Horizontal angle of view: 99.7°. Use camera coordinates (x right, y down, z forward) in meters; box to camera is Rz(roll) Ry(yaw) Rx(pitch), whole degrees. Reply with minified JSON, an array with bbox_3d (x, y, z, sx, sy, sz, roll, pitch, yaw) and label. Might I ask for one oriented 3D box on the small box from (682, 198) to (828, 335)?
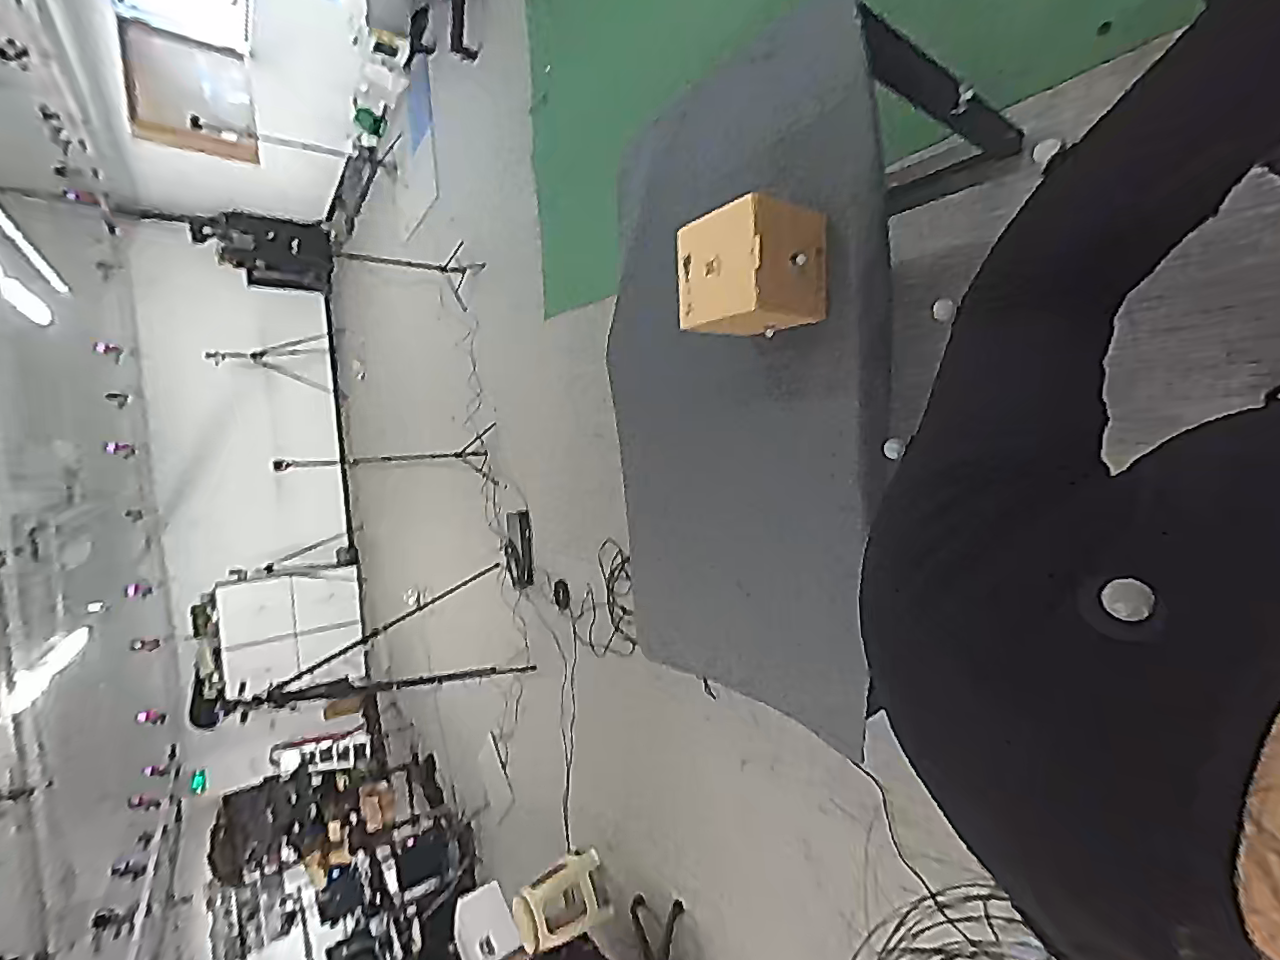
[{"bbox_3d":[0.191,-0.337,0.890,0.179,0.176,0.168,6,100,54],"label":"small box"}]
